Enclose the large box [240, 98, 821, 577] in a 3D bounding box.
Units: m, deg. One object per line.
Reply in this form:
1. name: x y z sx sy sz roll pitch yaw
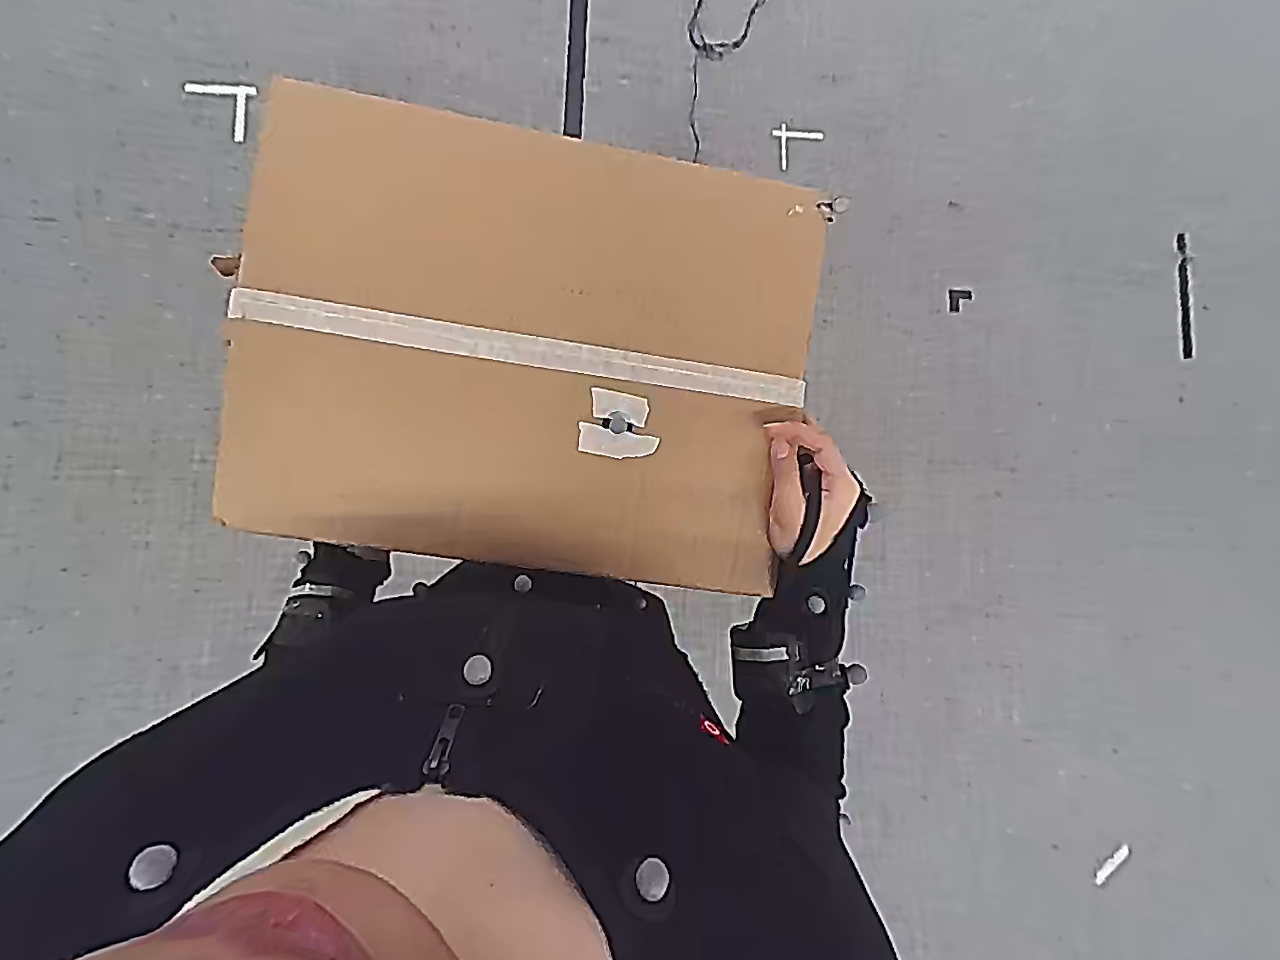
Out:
1. large box: -0.089 -0.099 0.549 0.408 0.320 0.320 8 91 -7
